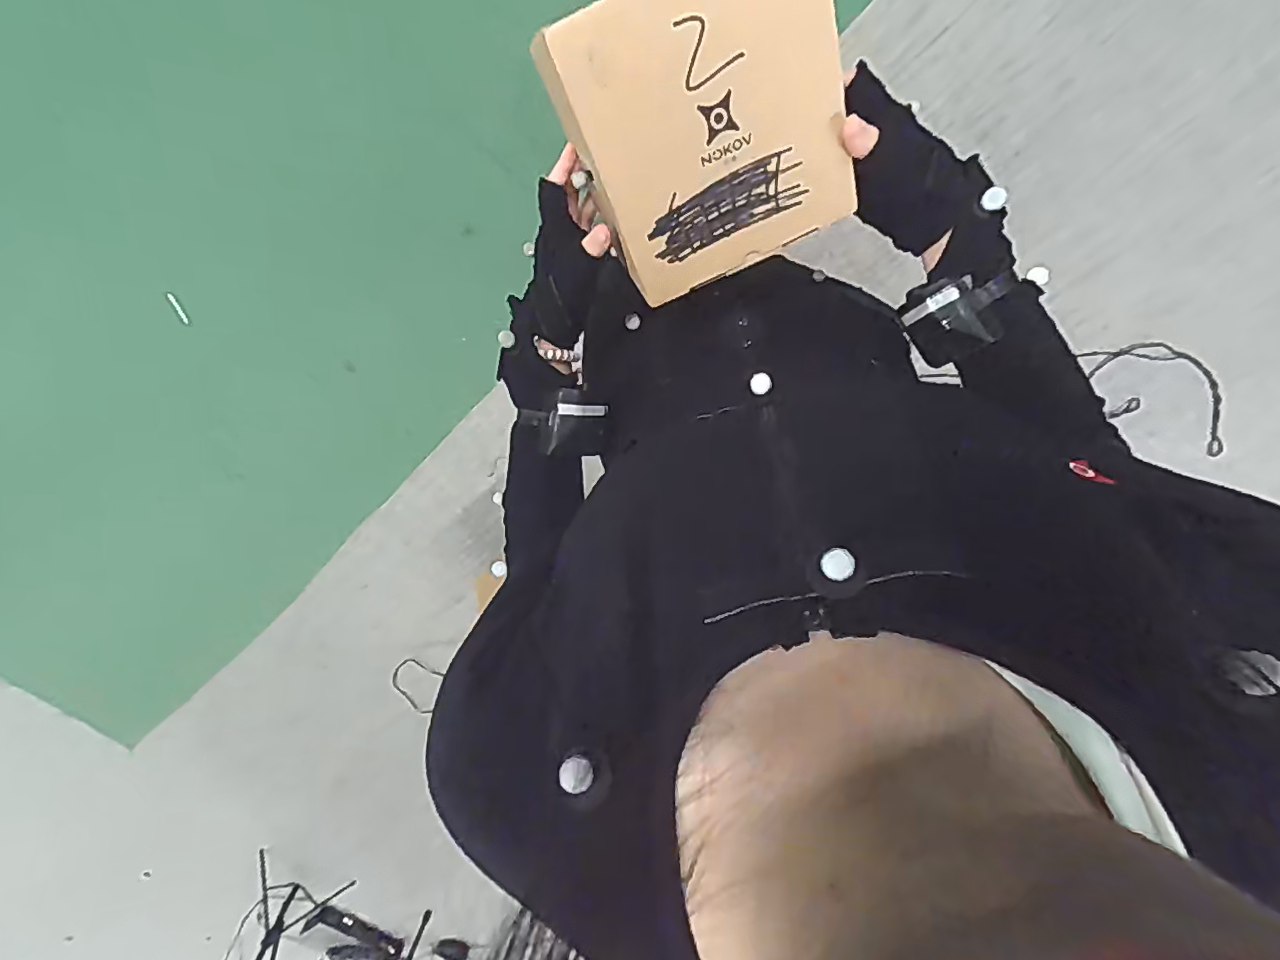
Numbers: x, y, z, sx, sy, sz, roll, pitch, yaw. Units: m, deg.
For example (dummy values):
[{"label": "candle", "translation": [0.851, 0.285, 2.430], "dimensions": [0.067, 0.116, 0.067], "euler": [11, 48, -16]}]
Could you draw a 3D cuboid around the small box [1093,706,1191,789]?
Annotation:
[{"label": "small box", "translation": [1.767, 0.944, 1.918], "dimensions": [0.179, 0.176, 0.168], "euler": [-41, 108, 19]}]
